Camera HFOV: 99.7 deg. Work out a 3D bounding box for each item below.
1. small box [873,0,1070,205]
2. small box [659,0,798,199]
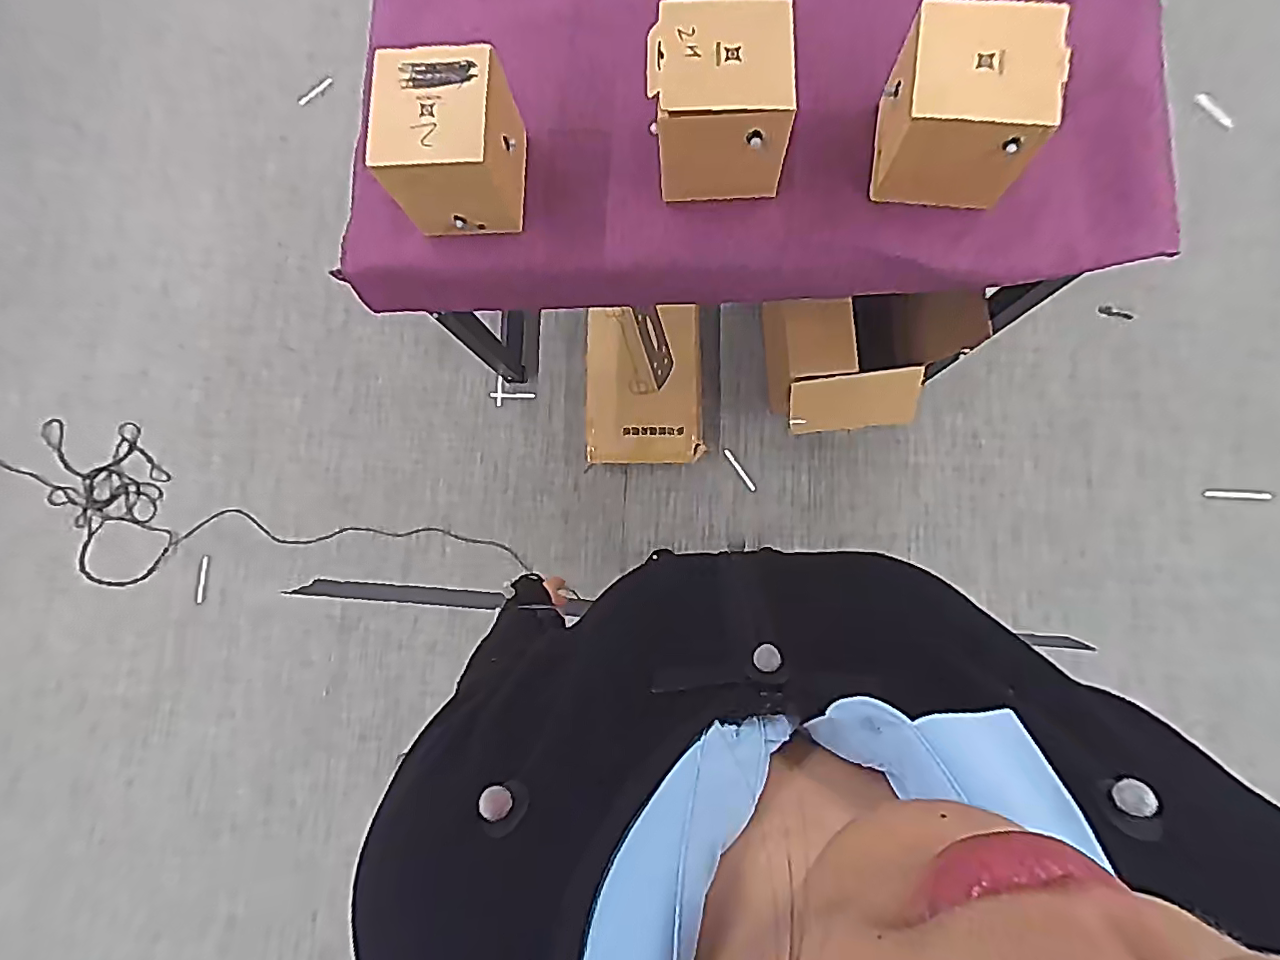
[{"bbox_3d":[0.434,-0.503,0.736,0.179,0.176,0.168,7,84,6],"label":"small box"},{"bbox_3d":[0.118,-0.527,0.766,0.179,0.176,0.168,0,81,5],"label":"small box"}]
